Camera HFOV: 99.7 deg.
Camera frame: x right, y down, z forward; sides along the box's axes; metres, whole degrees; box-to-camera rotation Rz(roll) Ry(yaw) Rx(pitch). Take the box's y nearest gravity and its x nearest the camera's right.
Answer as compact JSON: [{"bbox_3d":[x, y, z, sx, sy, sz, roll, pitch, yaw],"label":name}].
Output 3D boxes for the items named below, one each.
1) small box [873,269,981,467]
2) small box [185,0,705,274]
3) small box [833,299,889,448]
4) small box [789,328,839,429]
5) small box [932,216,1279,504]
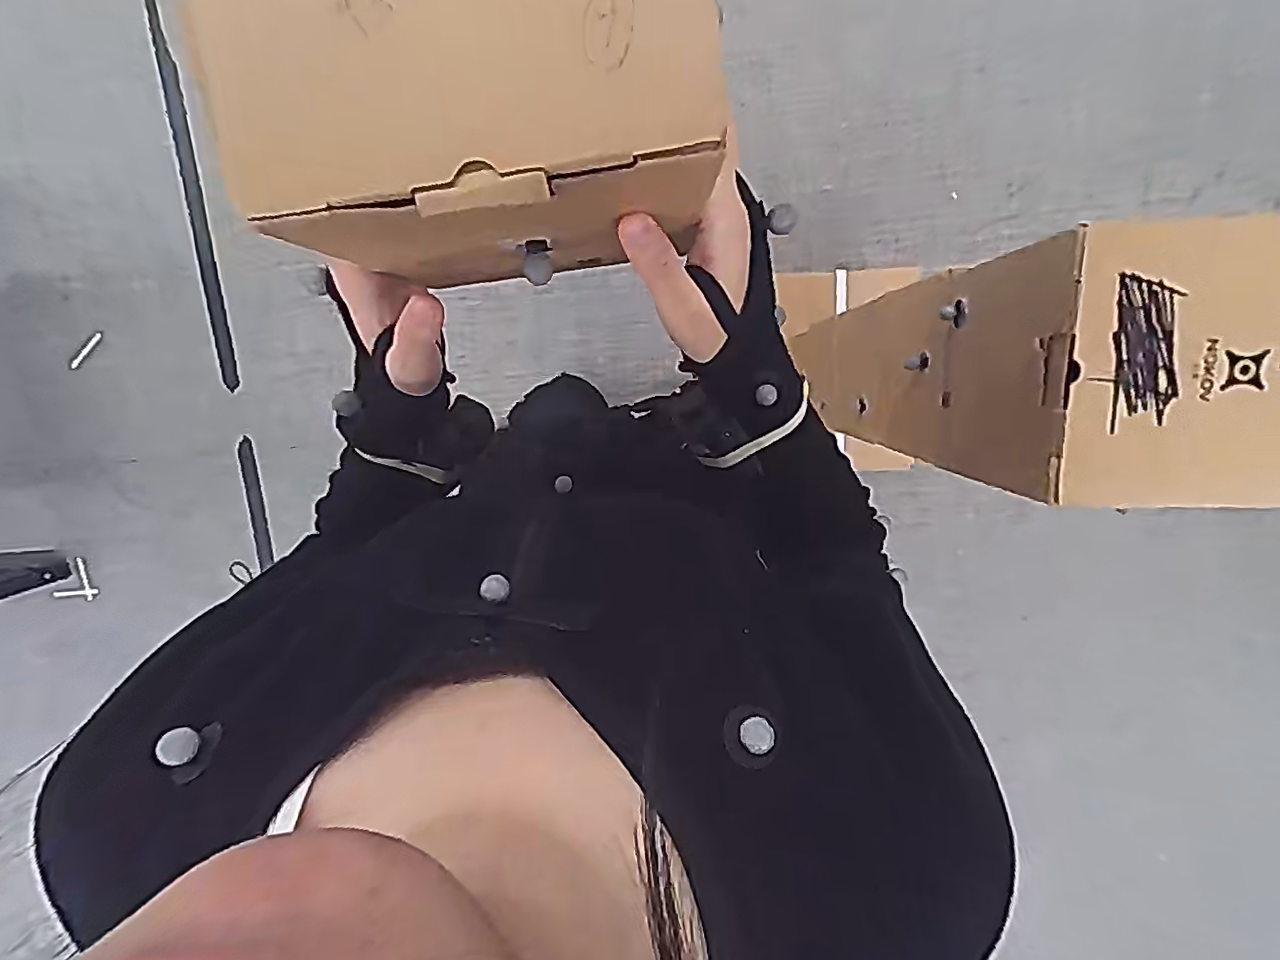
[{"bbox_3d":[0.351,-0.111,0.555,0.168,0.176,0.179,0,100,5],"label":"small box"},{"bbox_3d":[-0.064,-0.198,0.243,0.168,0.176,0.179,-7,102,3],"label":"small box"},{"bbox_3d":[0.362,-0.140,0.714,0.168,0.176,0.179,0,100,4],"label":"small box"},{"bbox_3d":[0.385,-0.196,1.037,0.168,0.176,0.179,-4,101,6],"label":"small box"},{"bbox_3d":[0.339,-0.079,0.394,0.179,0.176,0.168,0,100,4],"label":"small box"}]
